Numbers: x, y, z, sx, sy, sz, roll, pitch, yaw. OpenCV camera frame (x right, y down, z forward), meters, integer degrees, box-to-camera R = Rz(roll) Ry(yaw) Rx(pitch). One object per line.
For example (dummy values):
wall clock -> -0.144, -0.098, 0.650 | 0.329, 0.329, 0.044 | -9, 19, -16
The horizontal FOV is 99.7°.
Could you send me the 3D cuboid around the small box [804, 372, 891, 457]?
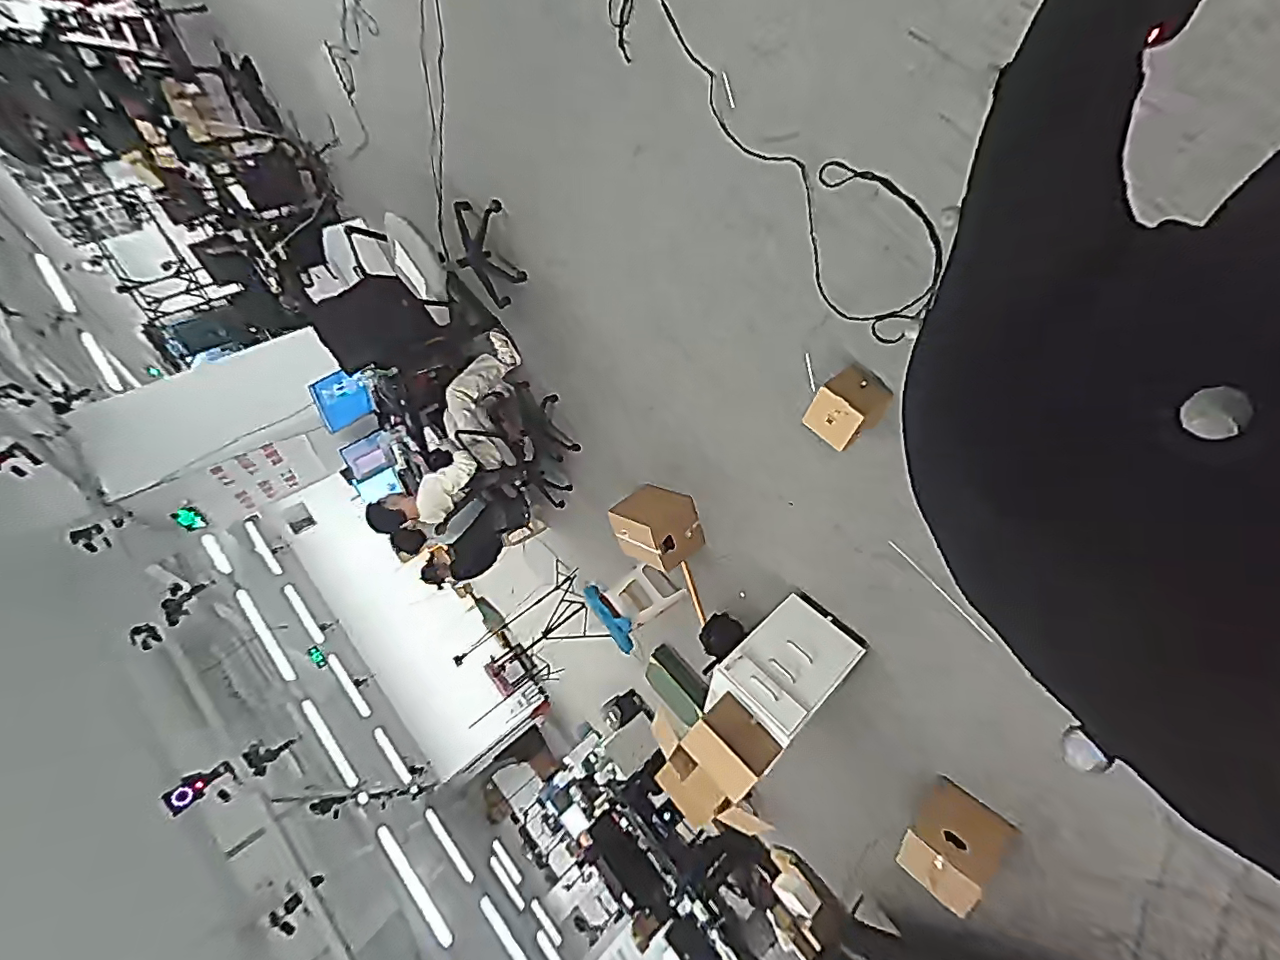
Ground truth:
small box -> 0.669, -0.213, 1.742 | 0.168, 0.176, 0.179 | 44, 150, 22
